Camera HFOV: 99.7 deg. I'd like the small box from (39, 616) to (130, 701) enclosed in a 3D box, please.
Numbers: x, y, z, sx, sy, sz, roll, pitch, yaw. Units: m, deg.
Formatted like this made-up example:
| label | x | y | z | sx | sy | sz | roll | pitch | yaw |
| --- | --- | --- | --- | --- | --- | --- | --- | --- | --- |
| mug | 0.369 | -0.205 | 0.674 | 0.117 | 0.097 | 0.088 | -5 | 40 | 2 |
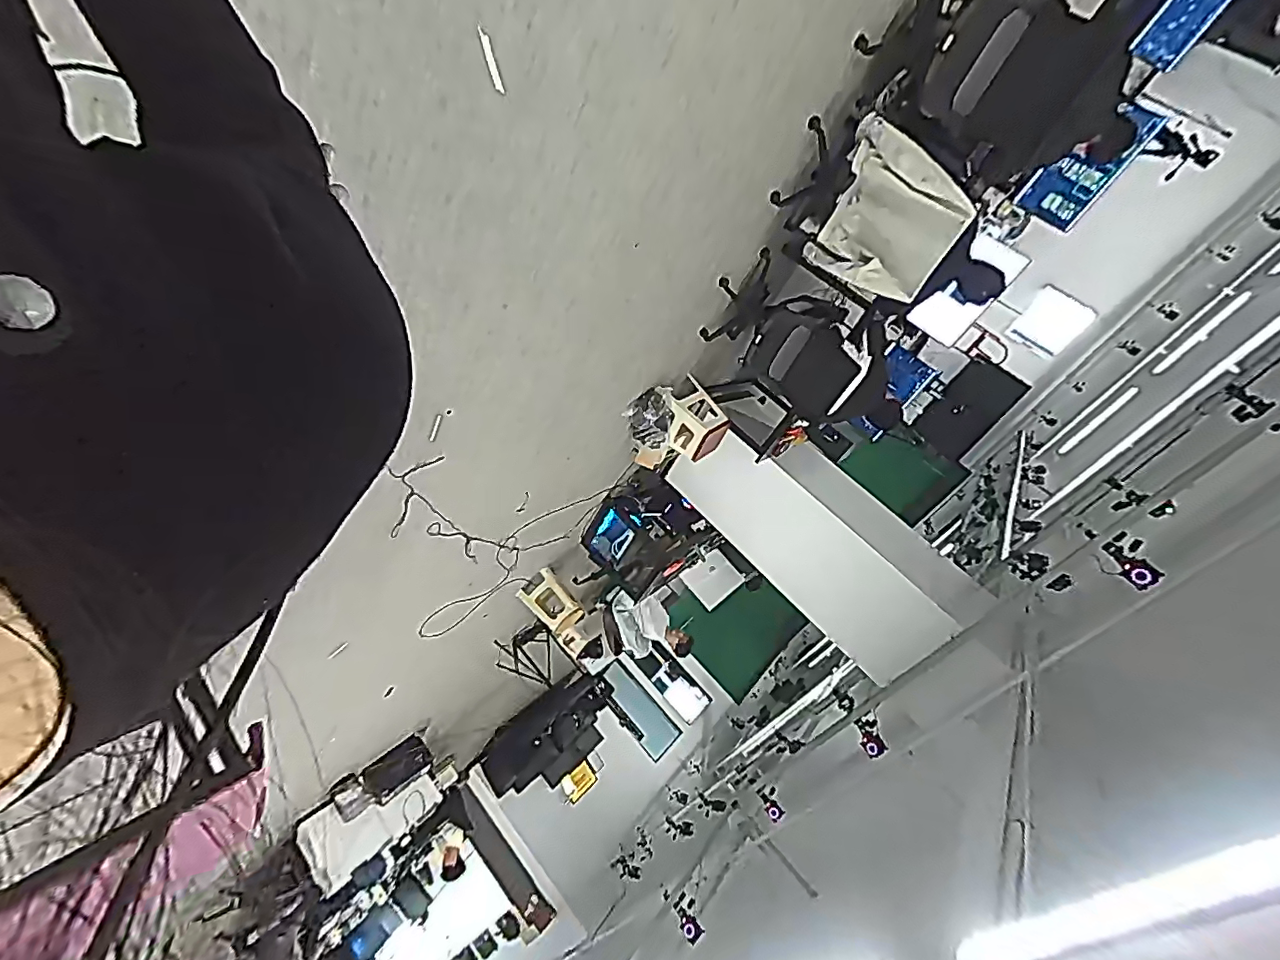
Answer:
| label | x | y | z | sx | sy | sz | roll | pitch | yaw |
| --- | --- | --- | --- | --- | --- | --- | --- | --- | --- |
| small box | -1.772 | 0.558 | 1.727 | 0.168 | 0.176 | 0.179 | -21 | 151 | -53 |
